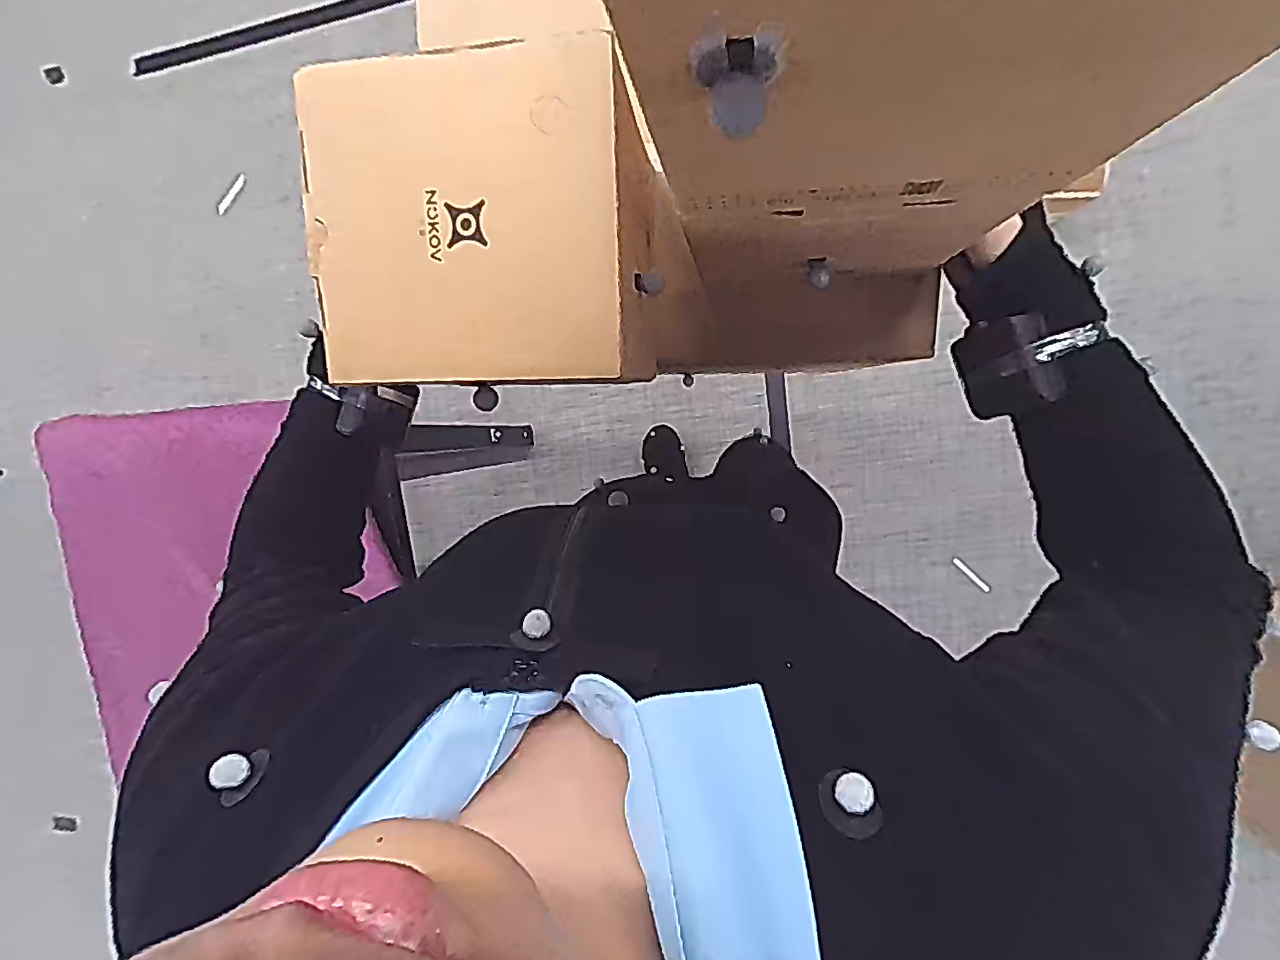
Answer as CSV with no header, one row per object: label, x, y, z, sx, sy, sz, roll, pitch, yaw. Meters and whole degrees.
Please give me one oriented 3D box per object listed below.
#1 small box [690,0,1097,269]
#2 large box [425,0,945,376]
small box,0.119,-0.231,0.307,0.168,0.176,0.179,2,100,11
large box,0.055,-0.275,0.563,0.408,0.320,0.320,0,98,11
